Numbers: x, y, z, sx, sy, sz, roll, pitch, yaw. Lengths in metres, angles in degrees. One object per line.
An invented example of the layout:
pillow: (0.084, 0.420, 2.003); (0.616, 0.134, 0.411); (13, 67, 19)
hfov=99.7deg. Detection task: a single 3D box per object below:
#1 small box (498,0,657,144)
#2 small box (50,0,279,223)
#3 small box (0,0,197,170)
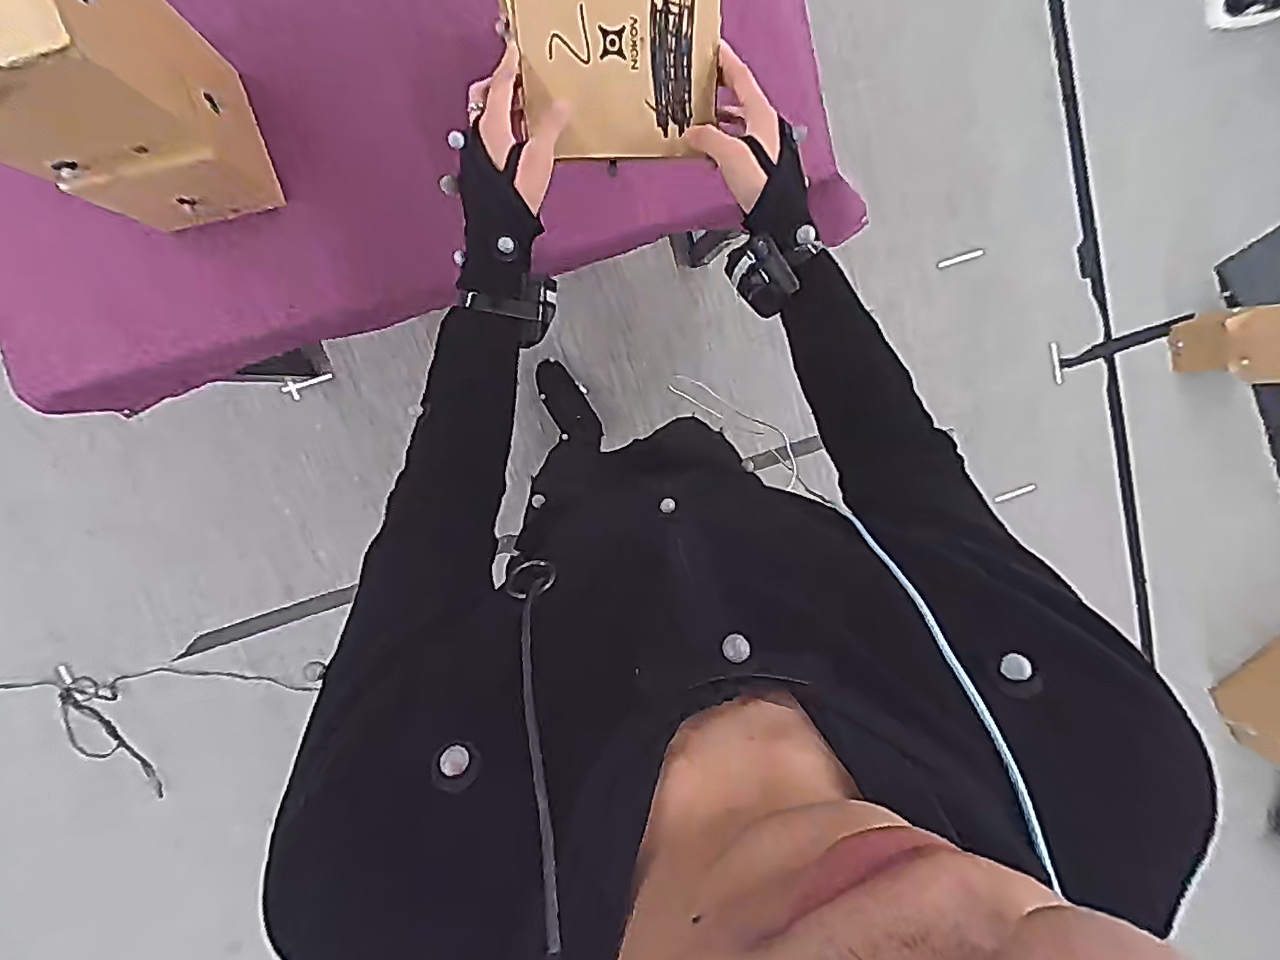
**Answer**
small box: (-0.085, -0.570, 0.707); (0.168, 0.176, 0.179); (-16, 101, -5)
small box: (-0.583, -0.430, 0.654); (0.168, 0.176, 0.179); (-16, 102, -6)
small box: (-0.566, -0.412, 0.491); (0.168, 0.176, 0.179); (-20, 101, -5)
